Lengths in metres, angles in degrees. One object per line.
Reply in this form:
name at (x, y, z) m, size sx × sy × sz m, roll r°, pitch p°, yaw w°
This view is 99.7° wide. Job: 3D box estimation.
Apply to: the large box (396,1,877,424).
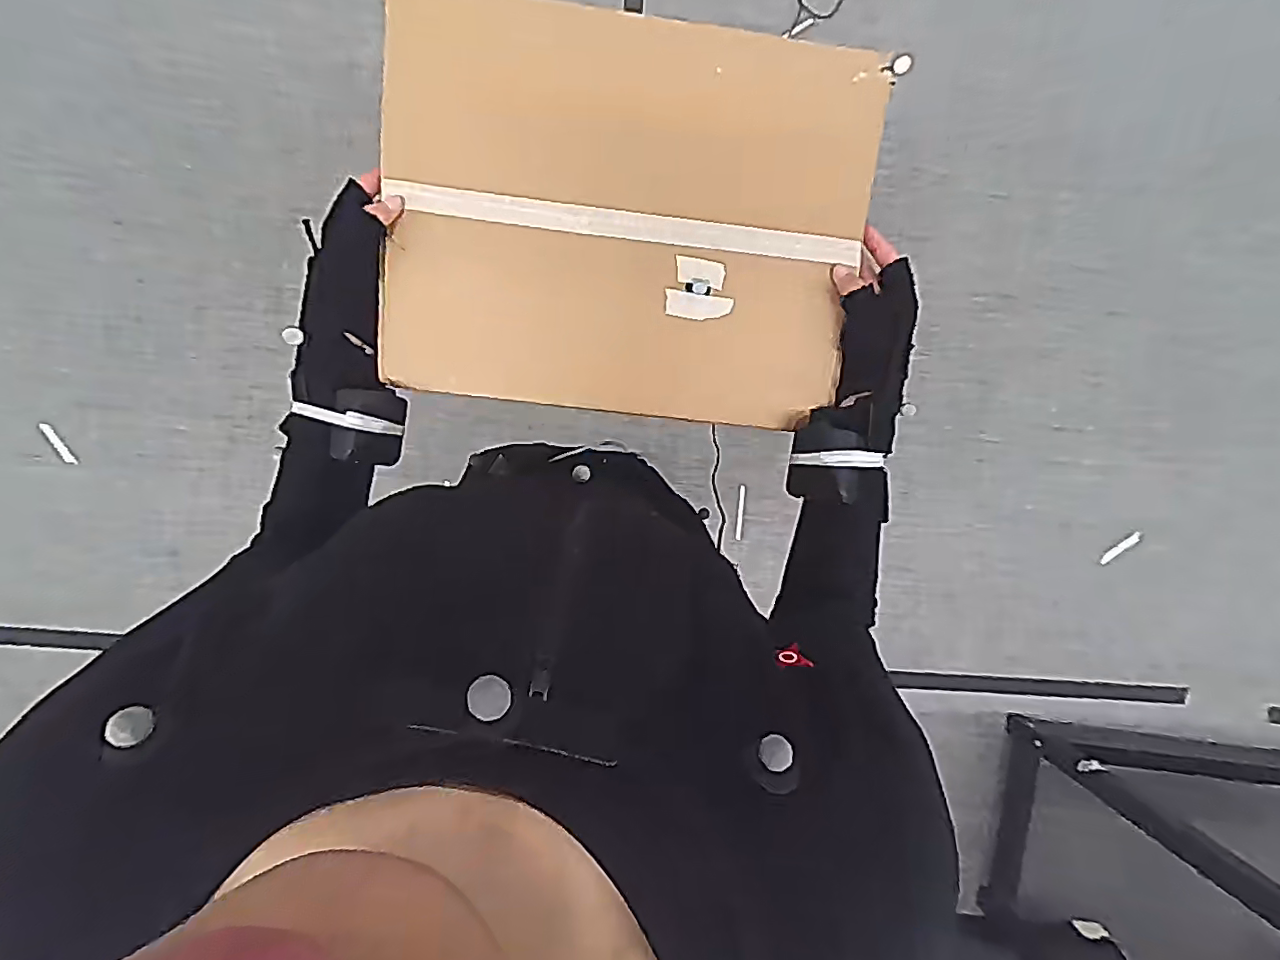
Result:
large box at (-0.018, -0.246, 0.617) m, size 0.408 × 0.320 × 0.320 m, roll 6°, pitch 102°, yaw -5°
